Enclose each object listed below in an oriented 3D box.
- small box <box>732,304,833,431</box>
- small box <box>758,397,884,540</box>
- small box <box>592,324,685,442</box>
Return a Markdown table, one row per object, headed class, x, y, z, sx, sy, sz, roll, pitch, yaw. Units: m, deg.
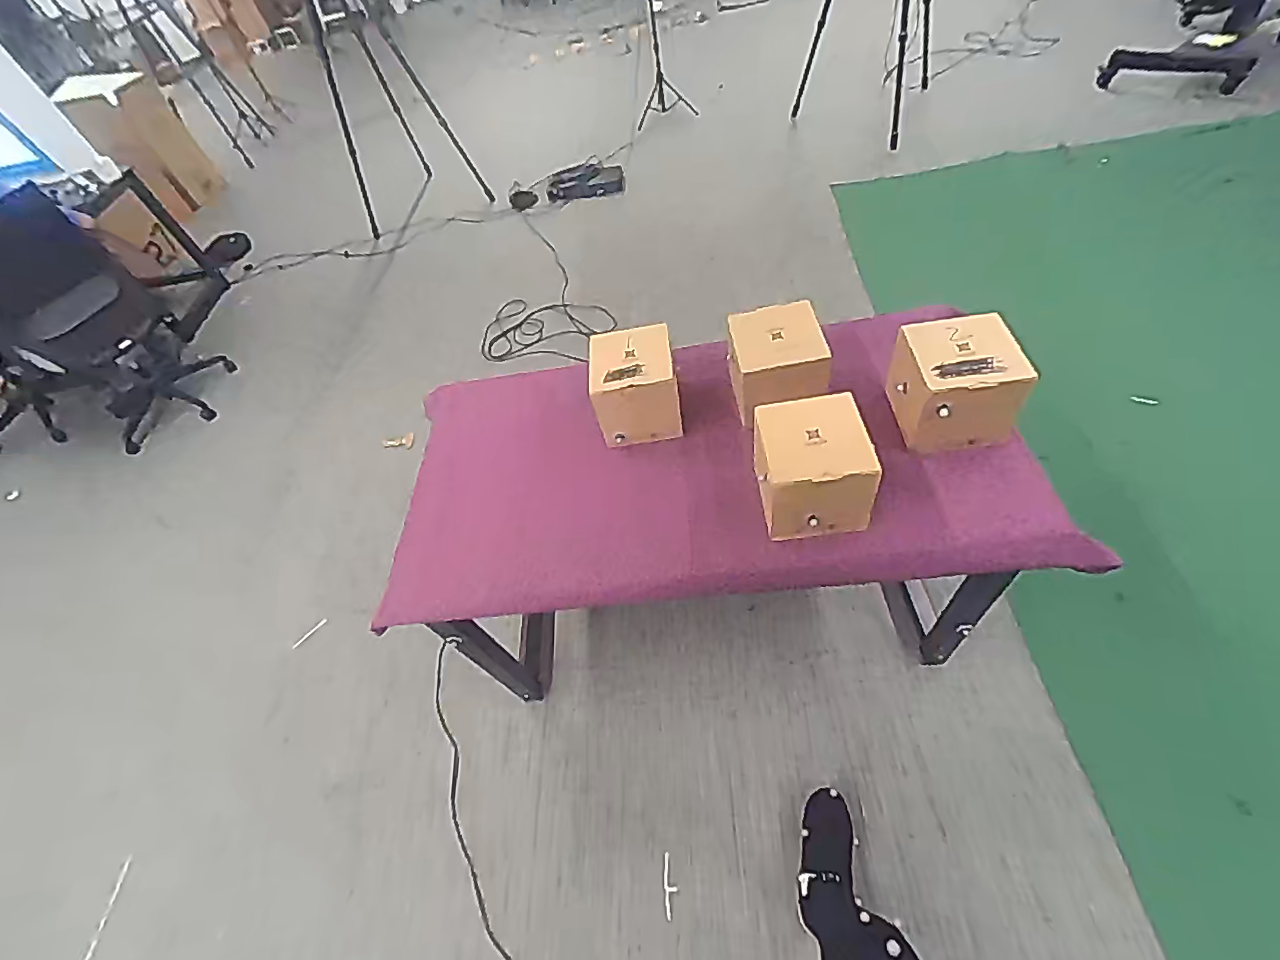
| class | x | y | z | sx | sy | sz | roll | pitch | yaw |
| --- | --- | --- | --- | --- | --- | --- | --- | --- | --- |
| small box | 0.281 | -0.226 | 1.100 | 0.168 | 0.176 | 0.179 | -8 | 54 | 7 |
| small box | 0.299 | -0.017 | 0.939 | 0.168 | 0.176 | 0.179 | -7 | 52 | 7 |
| small box | 0.001 | -0.195 | 1.134 | 0.168 | 0.176 | 0.179 | -7 | 52 | 6 |
